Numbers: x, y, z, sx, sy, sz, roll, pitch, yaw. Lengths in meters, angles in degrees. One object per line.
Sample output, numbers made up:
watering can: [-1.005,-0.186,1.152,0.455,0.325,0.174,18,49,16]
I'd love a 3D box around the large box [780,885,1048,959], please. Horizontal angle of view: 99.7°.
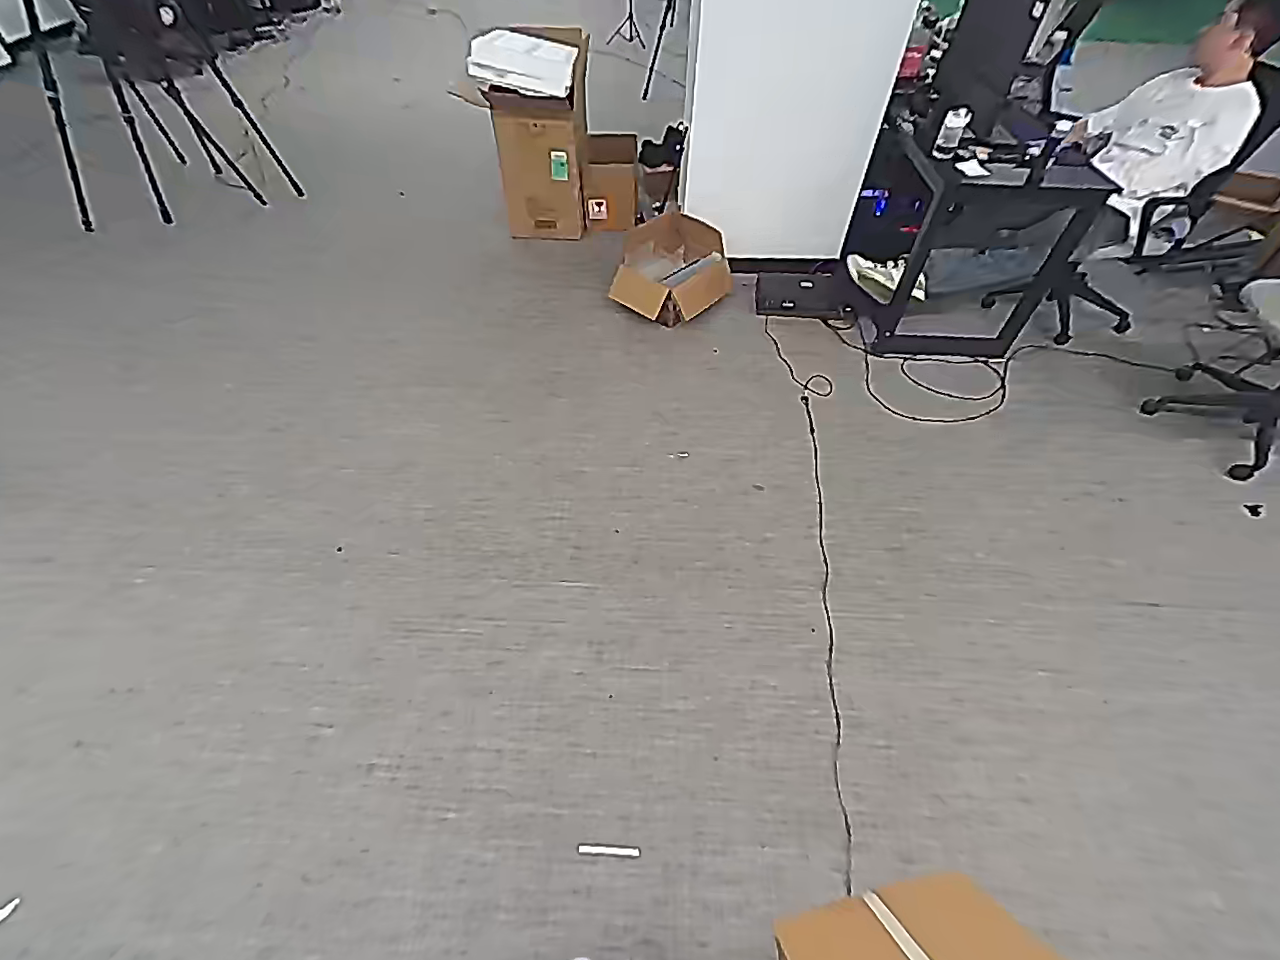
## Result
large box: [0.400,0.774,0.614,0.320,0.408,0.320,-11,83,-6]
